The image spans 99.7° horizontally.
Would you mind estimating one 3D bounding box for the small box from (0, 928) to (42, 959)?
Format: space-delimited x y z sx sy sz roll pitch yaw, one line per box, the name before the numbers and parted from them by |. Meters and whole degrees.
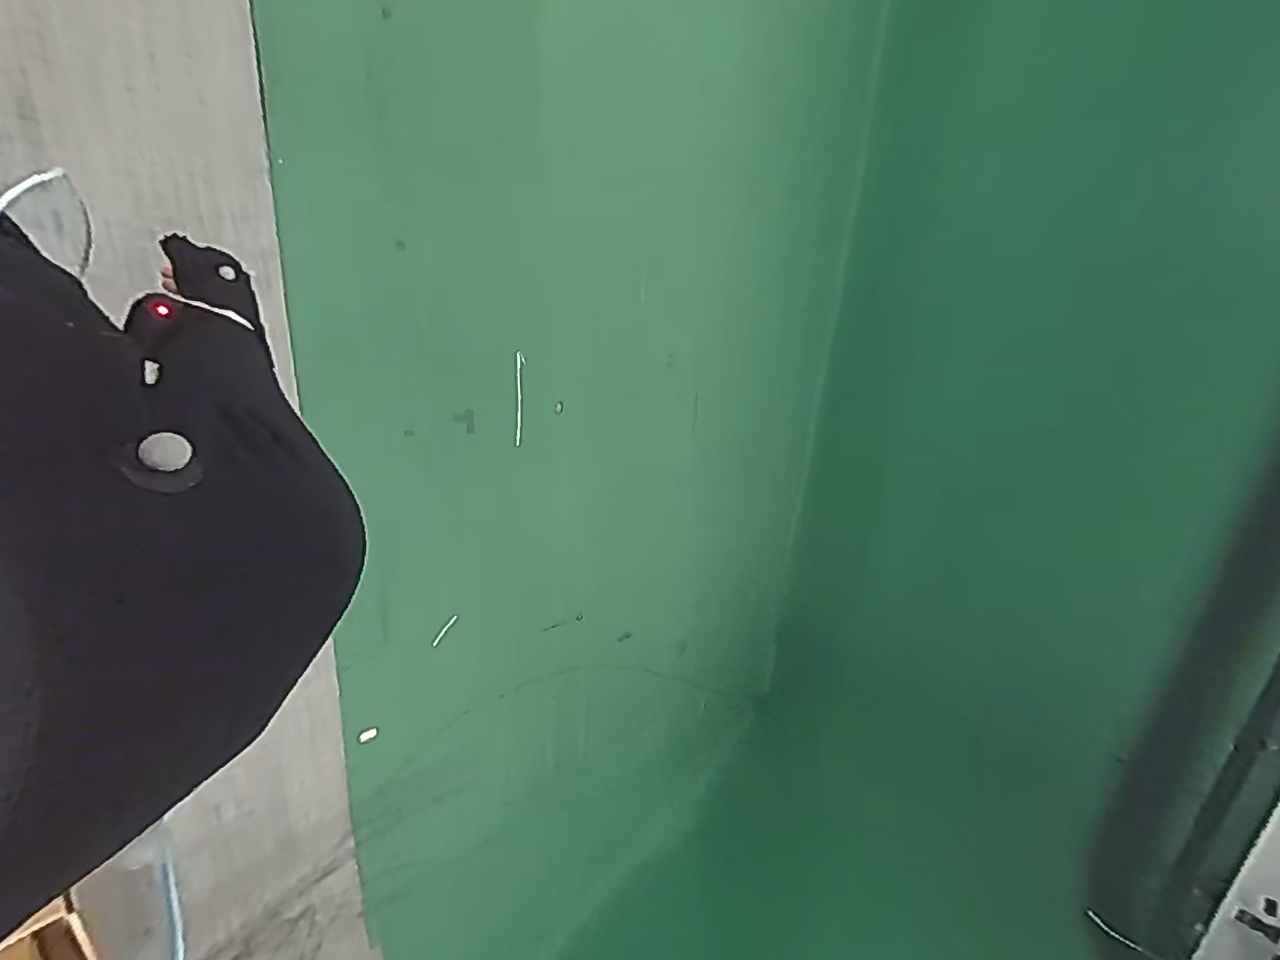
small box | -1.306 1.057 1.068 0.168 0.176 0.179 -17 119 -46
